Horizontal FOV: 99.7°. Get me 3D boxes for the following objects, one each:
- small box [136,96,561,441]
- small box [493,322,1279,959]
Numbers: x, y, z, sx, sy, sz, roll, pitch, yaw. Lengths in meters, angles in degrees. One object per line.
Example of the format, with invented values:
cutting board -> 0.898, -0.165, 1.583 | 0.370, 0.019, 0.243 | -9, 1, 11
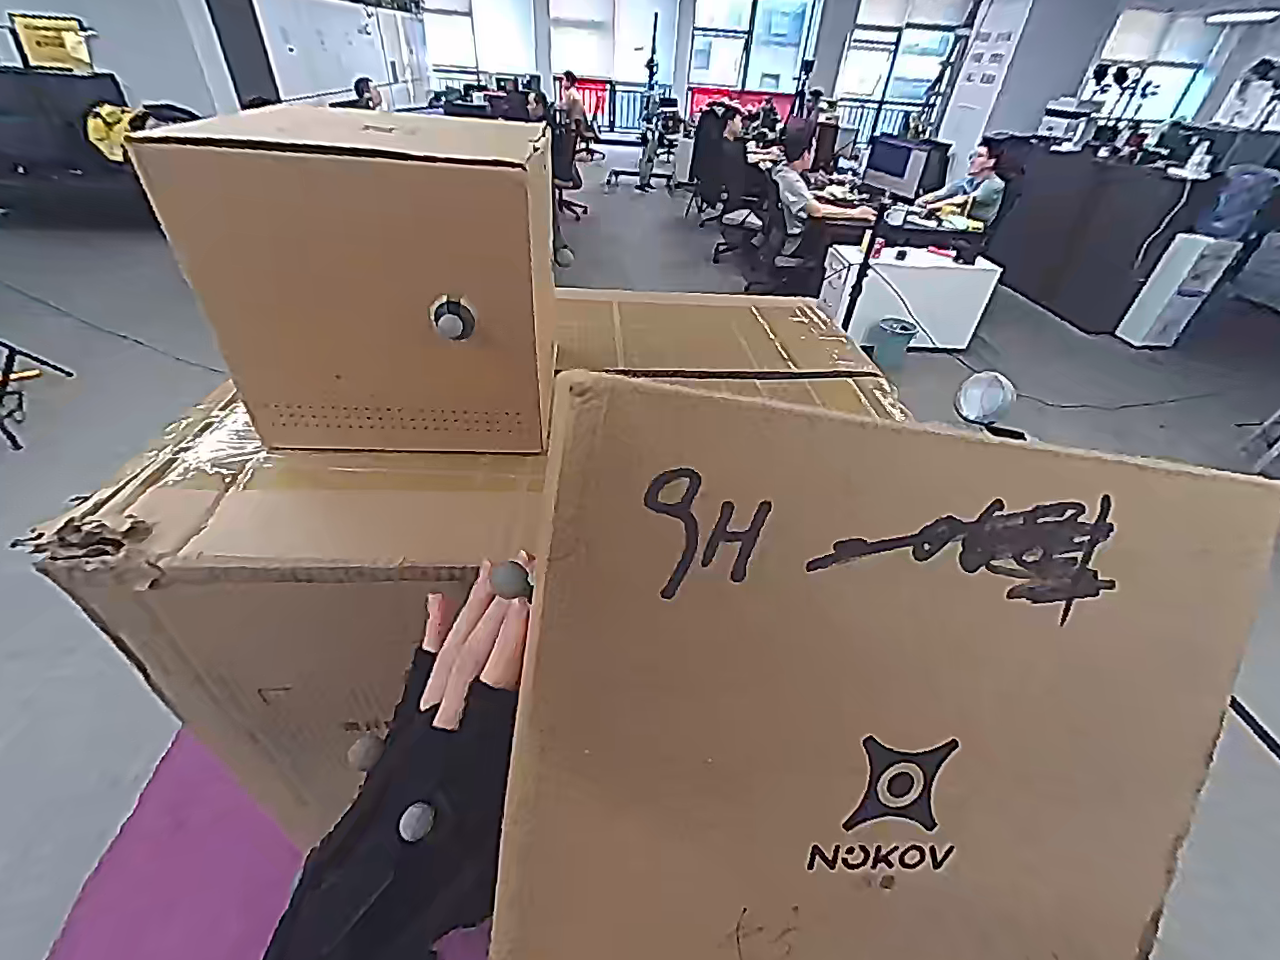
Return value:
small box -> -0.143, -0.136, 0.352 | 0.179, 0.176, 0.168 | 0, 38, -5
small box -> 0.046, 0.051, 0.199 | 0.168, 0.179, 0.176 | 7, 10, -11
